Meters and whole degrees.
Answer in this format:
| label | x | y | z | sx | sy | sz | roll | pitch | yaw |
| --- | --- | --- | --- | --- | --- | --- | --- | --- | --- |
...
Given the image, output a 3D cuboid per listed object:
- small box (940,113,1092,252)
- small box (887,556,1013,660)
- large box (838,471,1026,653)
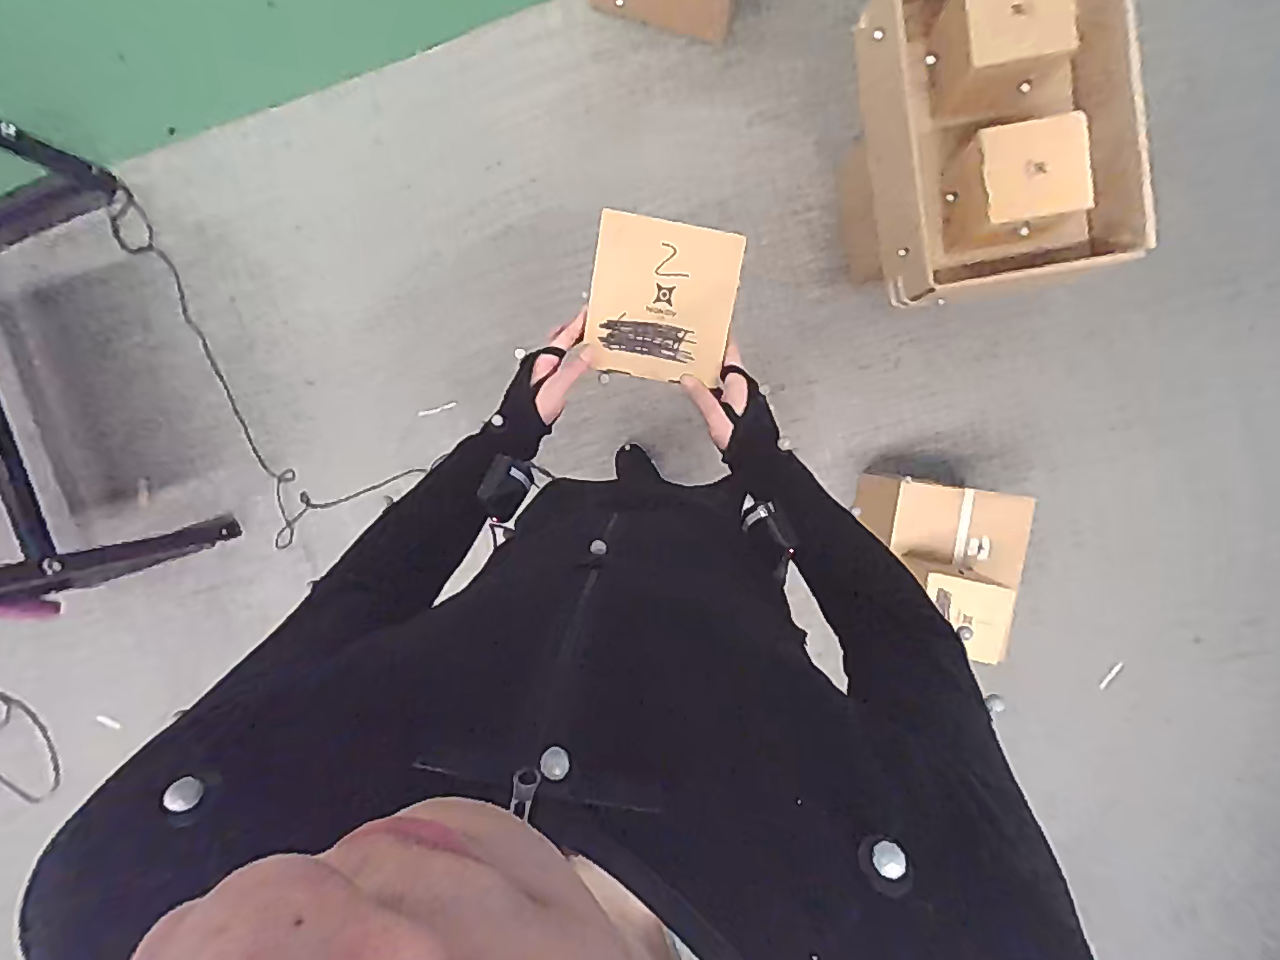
| label | x | y | z | sx | sy | sz | roll | pitch | yaw |
| --- | --- | --- | --- | --- | --- | --- | --- | --- | --- |
| small box | 0.705 | -0.554 | 1.029 | 0.179 | 0.176 | 0.168 | -8 | 94 | 6 |
| small box | 0.680 | 0.276 | 1.210 | 0.179 | 0.176 | 0.168 | 12 | 96 | 4 |
| large box | 0.750 | 0.197 | 1.446 | 0.320 | 0.320 | 0.408 | 8 | 95 | 2 |
